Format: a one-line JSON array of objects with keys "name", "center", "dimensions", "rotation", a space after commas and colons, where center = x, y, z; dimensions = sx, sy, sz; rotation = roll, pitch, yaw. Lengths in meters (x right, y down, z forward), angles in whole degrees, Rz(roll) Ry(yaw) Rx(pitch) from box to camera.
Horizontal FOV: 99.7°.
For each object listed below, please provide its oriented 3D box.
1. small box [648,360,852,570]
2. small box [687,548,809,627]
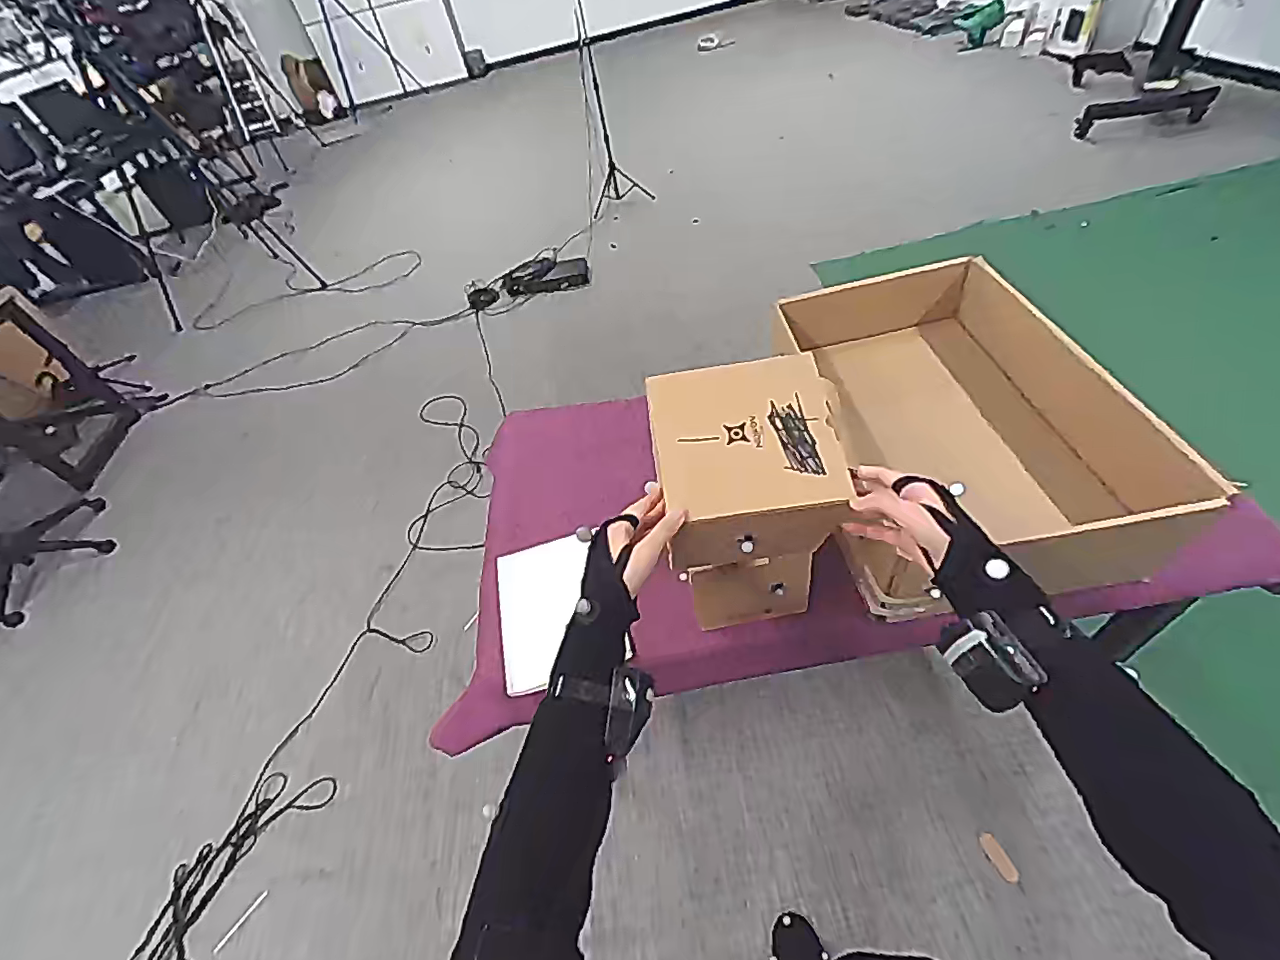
[{"name": "small box", "center": [0.106, -0.007, 0.600], "dimensions": [0.179, 0.176, 0.168], "rotation": [-8, 64, 1]}, {"name": "small box", "center": [0.151, 0.108, 0.826], "dimensions": [0.168, 0.176, 0.179], "rotation": [-10, 45, 3]}]
